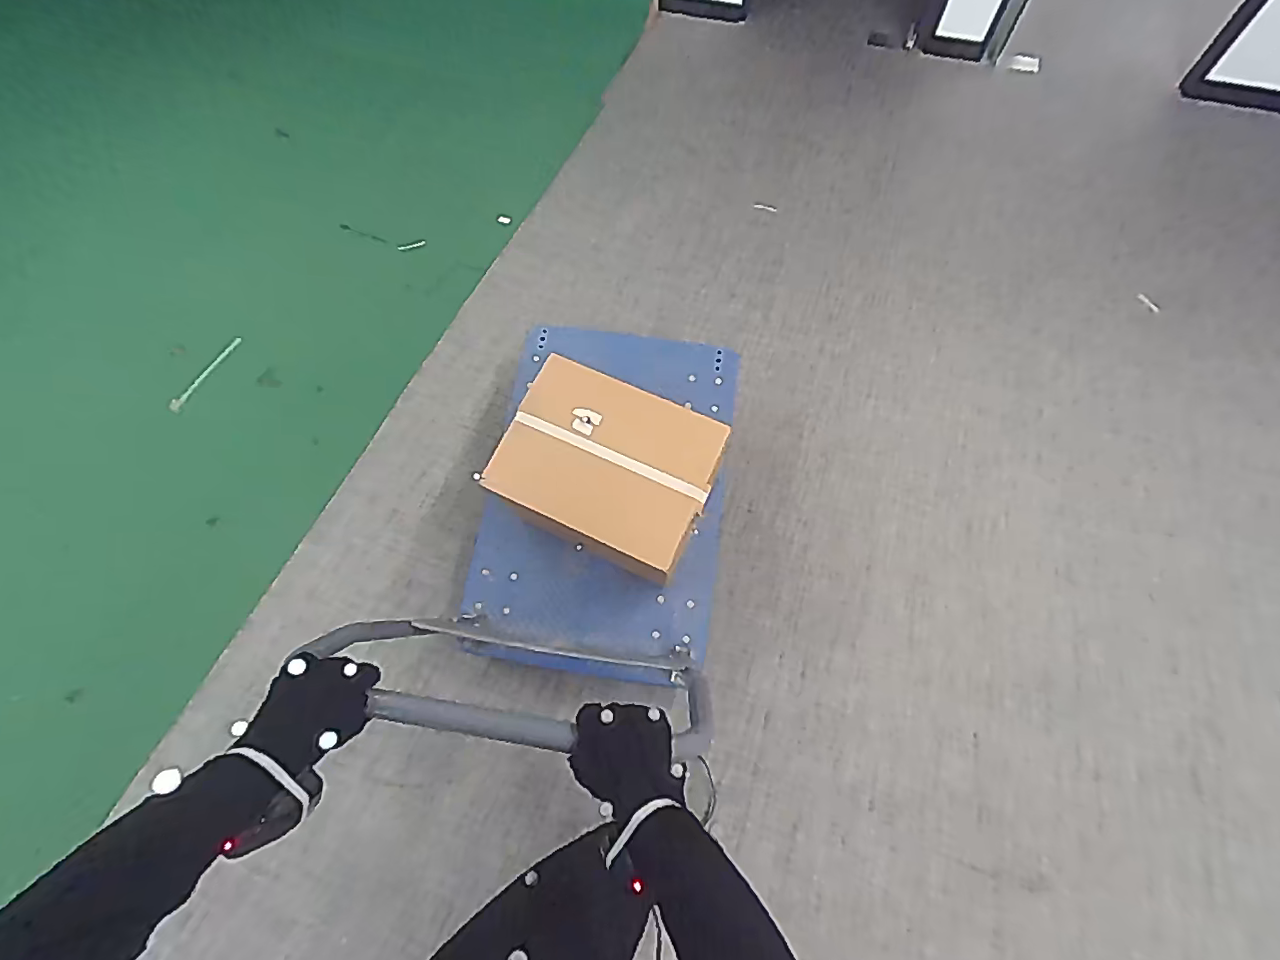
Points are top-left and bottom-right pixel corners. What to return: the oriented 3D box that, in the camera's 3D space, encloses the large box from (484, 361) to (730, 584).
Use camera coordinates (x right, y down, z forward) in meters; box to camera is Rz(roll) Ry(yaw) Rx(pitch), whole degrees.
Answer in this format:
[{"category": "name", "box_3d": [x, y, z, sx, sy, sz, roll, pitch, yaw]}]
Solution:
[{"category": "large box", "box_3d": [-0.052, 0.002, 1.188, 0.408, 0.320, 0.320, 23, 76, 10]}]
